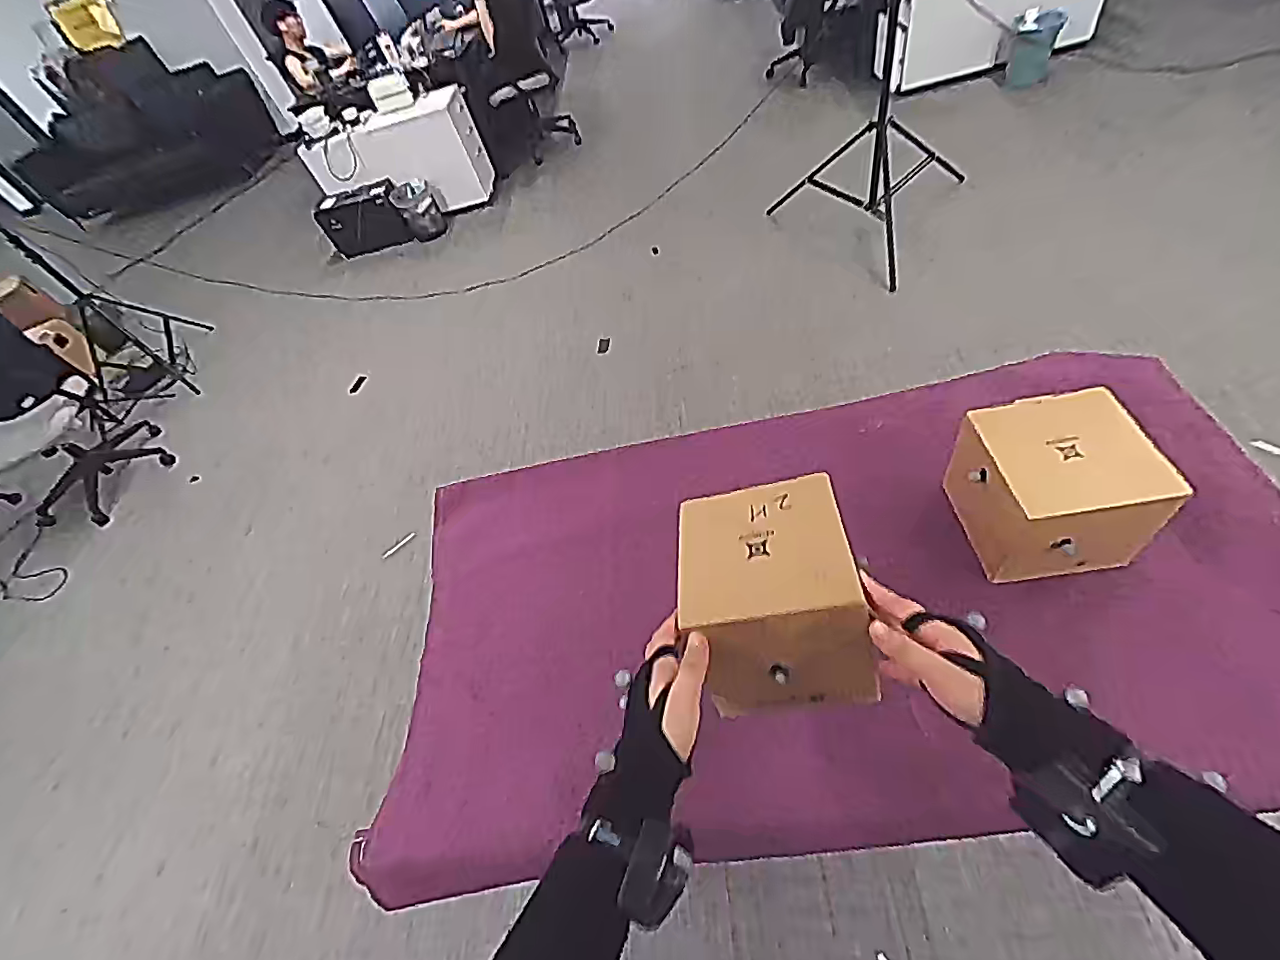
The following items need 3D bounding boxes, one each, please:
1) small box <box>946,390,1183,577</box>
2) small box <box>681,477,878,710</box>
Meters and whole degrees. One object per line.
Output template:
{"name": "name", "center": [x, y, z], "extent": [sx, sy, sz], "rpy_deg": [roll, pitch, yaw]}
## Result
{"name": "small box", "center": [0.530, 0.014, 0.711], "extent": [0.168, 0.176, 0.179], "rpy_deg": [-10, 50, 10]}
{"name": "small box", "center": [0.146, 0.127, 0.577], "extent": [0.168, 0.176, 0.179], "rpy_deg": [-12, 37, 15]}
